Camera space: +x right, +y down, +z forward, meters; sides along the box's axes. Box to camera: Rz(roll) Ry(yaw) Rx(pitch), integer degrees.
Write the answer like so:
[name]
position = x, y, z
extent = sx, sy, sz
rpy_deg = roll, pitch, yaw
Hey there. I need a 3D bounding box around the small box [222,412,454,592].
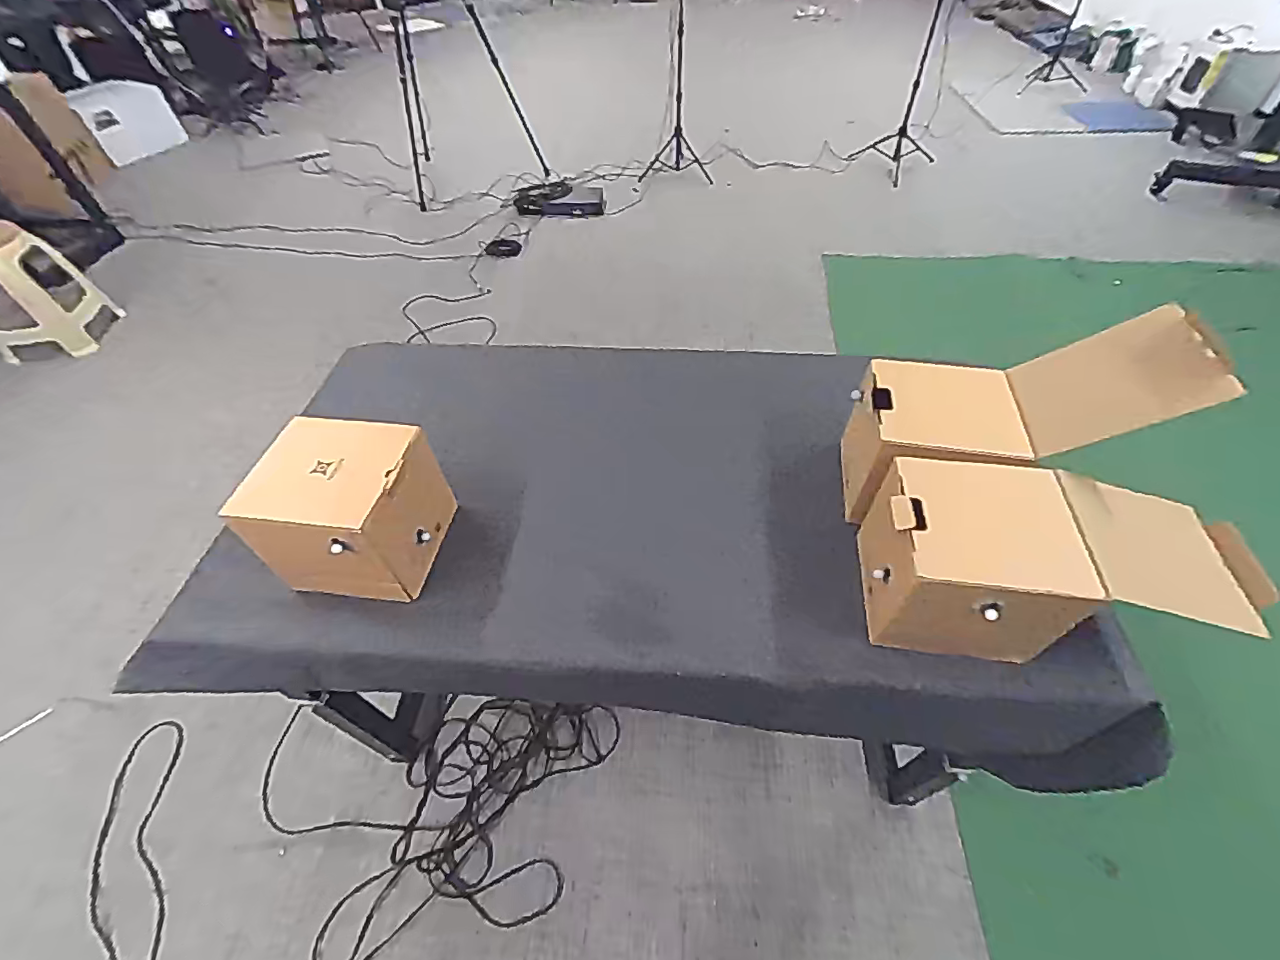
[small box]
position = -0.373, 0.032, 0.707
extent = 0.179, 0.176, 0.168
rpy_deg = 5, 50, 6
